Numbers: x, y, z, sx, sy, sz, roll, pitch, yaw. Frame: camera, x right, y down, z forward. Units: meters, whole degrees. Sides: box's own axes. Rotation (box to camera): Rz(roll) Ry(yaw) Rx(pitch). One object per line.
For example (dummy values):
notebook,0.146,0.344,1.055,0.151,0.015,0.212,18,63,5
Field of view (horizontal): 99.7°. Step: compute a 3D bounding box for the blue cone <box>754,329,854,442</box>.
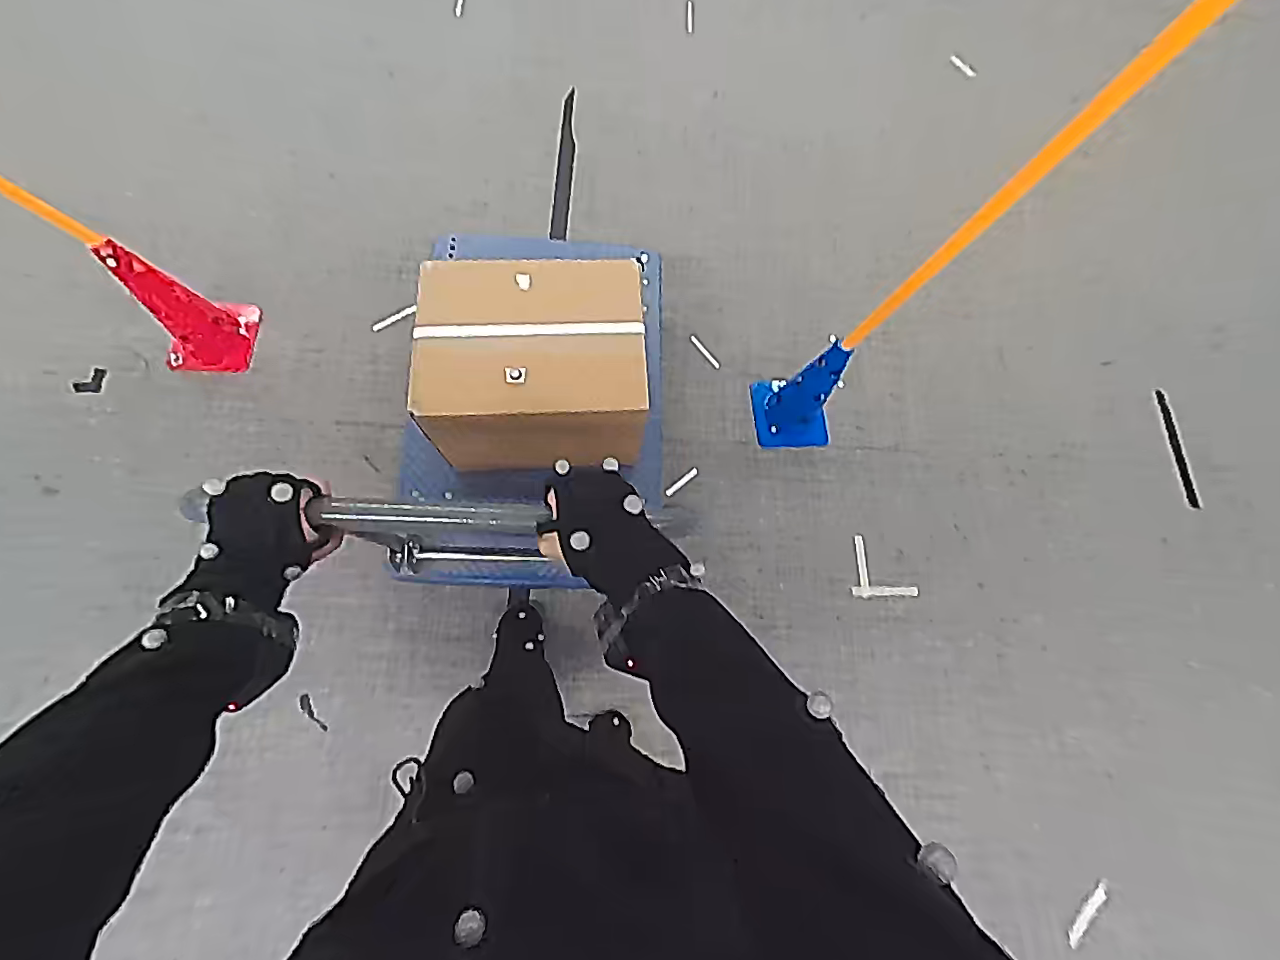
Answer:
blue cone,0.430,-0.244,1.337,0.193,0.380,0.192,-1,72,-6
